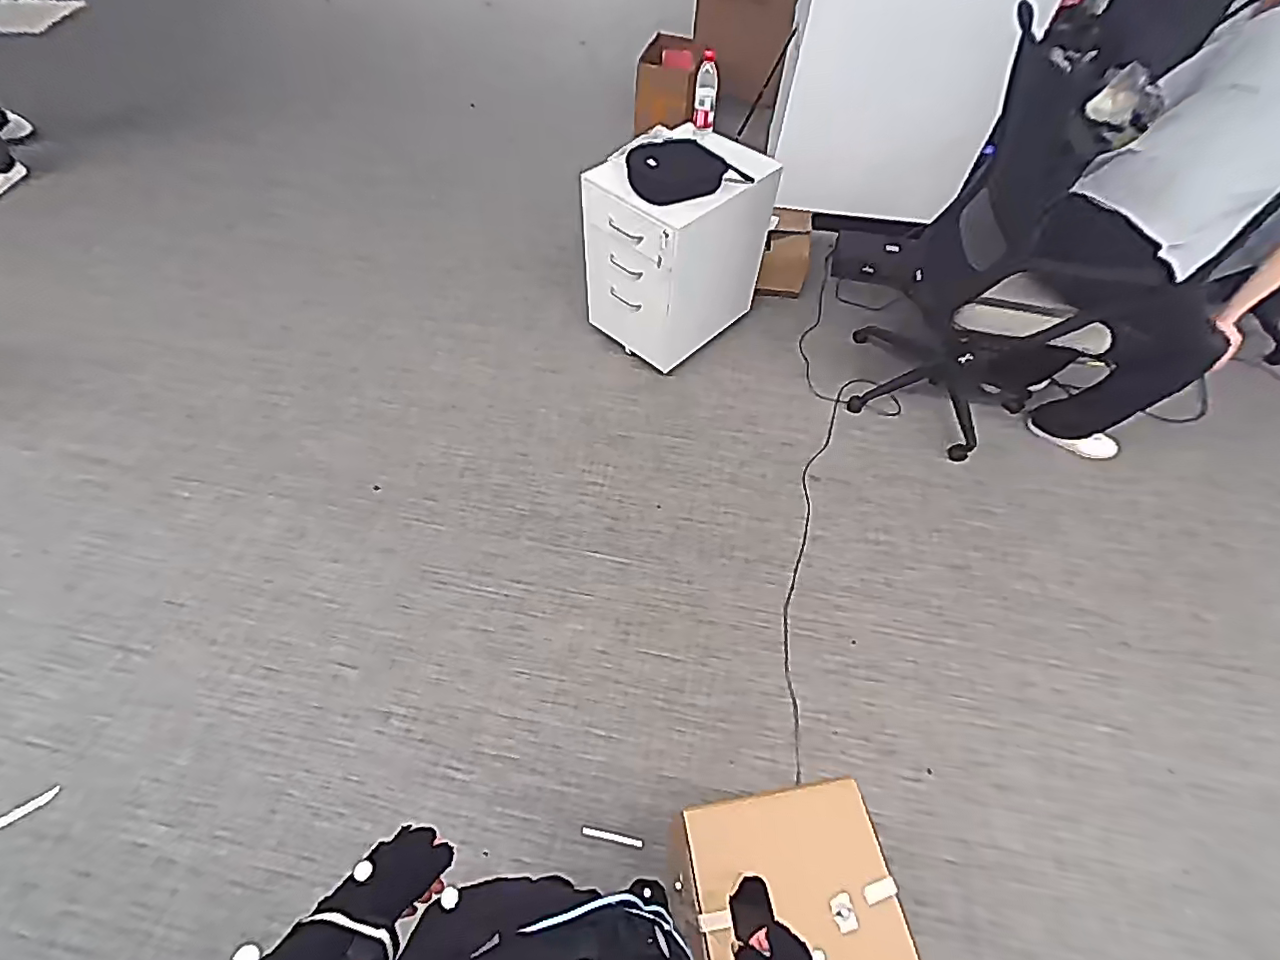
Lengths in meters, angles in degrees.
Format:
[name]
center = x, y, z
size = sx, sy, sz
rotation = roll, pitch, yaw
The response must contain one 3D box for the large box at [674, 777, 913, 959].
[large box]
center = 0.250, 0.781, 1.010
size = 0.320, 0.408, 0.320
rotation = -8, 55, -4
